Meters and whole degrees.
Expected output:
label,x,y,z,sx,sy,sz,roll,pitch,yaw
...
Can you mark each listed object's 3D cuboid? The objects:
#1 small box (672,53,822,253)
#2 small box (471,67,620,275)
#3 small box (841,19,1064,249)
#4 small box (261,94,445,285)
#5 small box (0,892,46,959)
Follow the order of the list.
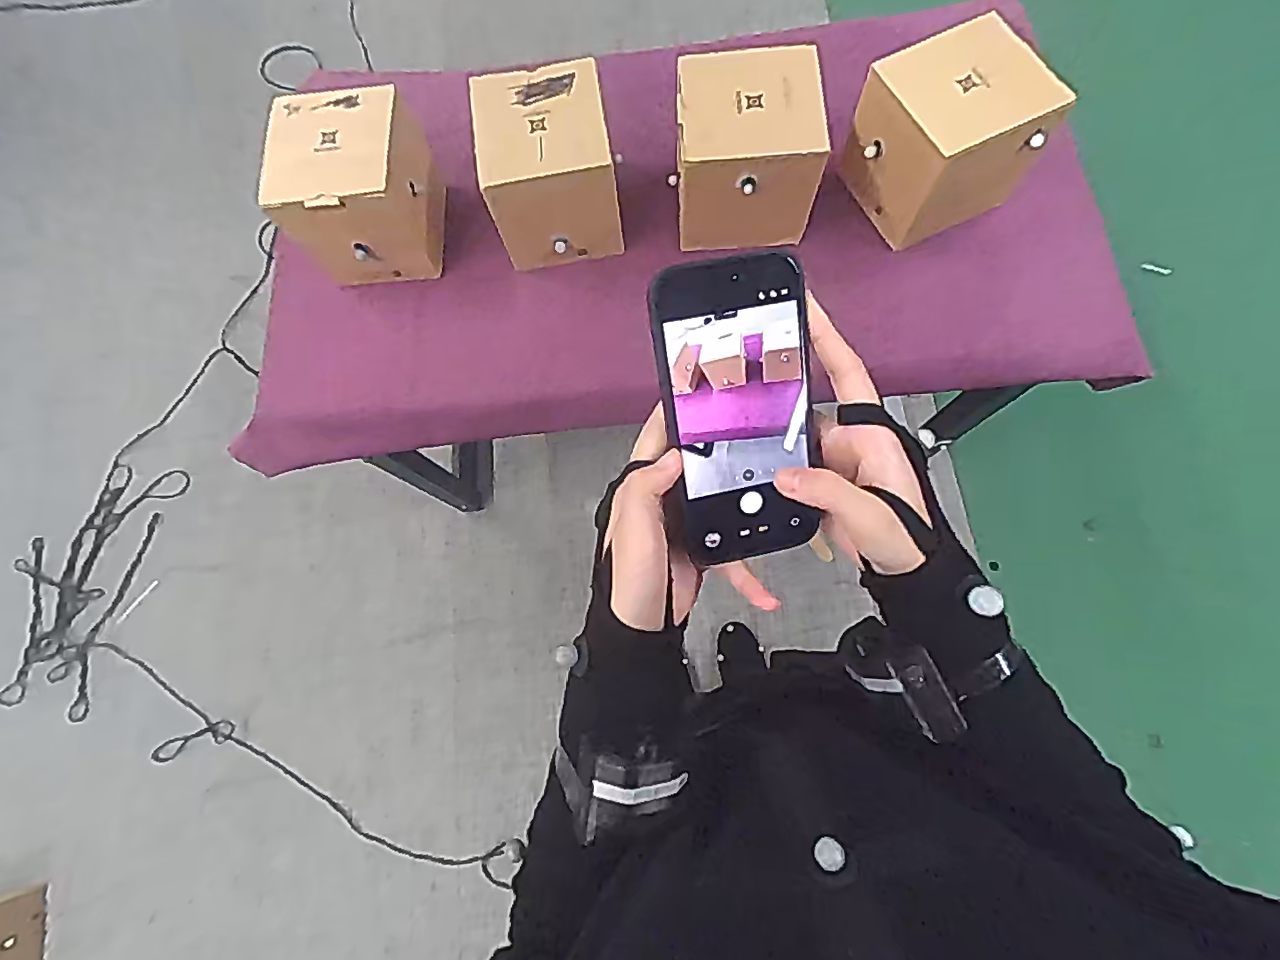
label,x,y,z,sx,sy,sz,roll,pitch,yaw
small box,0.135,-0.434,0.741,0.179,0.176,0.168,-2,75,3
small box,-0.124,-0.421,0.756,0.168,0.176,0.179,-9,75,2
small box,0.392,-0.449,0.725,0.179,0.176,0.168,-25,73,-3
small box,-0.391,-0.397,0.769,0.168,0.176,0.179,-4,75,3
small box,-1.488,1.054,1.195,0.179,0.176,0.168,-14,74,1
